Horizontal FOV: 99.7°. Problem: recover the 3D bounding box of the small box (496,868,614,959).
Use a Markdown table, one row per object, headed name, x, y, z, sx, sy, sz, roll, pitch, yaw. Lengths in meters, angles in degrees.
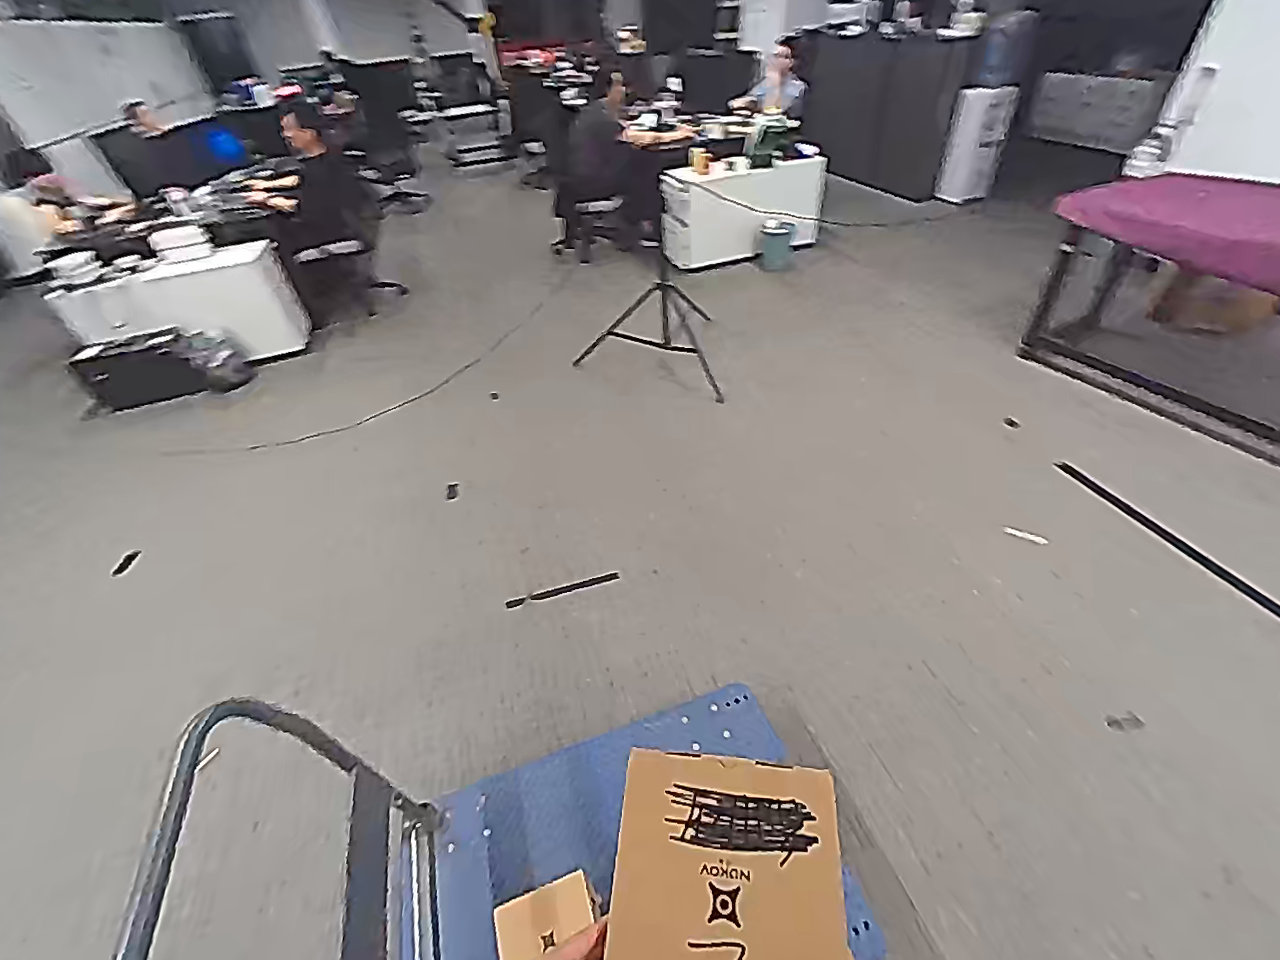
| name | x | y | z | sx | sy | sz | roll | pitch | yaw |
| --- | --- | --- | --- | --- | --- | --- | --- | --- | --- |
| small box | -0.141 | 0.837 | 0.953 | 0.168 | 0.176 | 0.179 | -18 | 43 | -12 |
